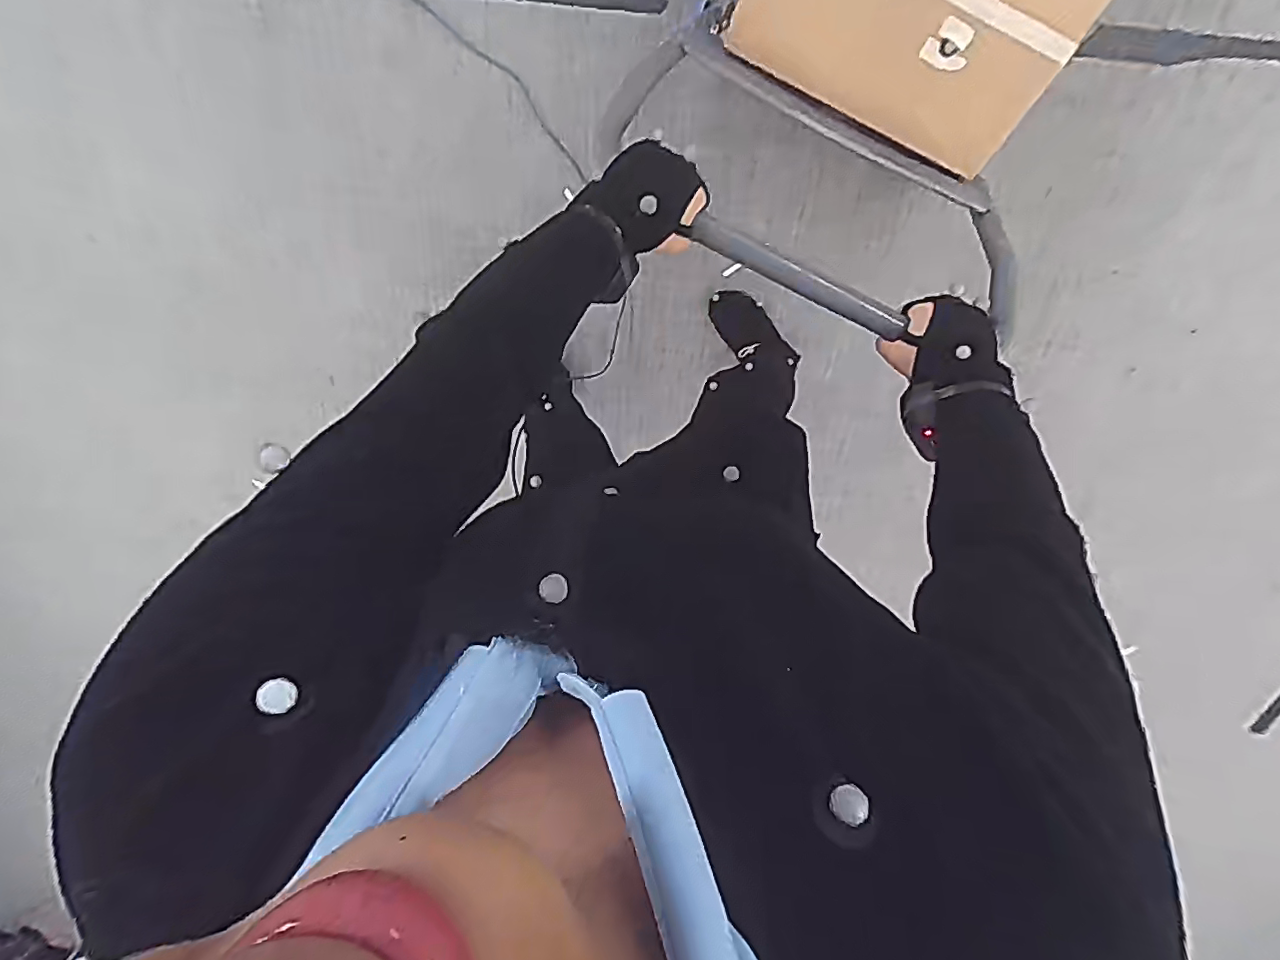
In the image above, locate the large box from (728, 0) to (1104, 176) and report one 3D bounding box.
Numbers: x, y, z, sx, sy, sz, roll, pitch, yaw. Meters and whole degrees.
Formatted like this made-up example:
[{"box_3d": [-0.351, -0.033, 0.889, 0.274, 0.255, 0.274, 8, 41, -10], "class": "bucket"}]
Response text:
[{"box_3d": [0.383, -0.713, 0.769, 0.408, 0.320, 0.320, 24, 136, -6], "class": "large box"}]
